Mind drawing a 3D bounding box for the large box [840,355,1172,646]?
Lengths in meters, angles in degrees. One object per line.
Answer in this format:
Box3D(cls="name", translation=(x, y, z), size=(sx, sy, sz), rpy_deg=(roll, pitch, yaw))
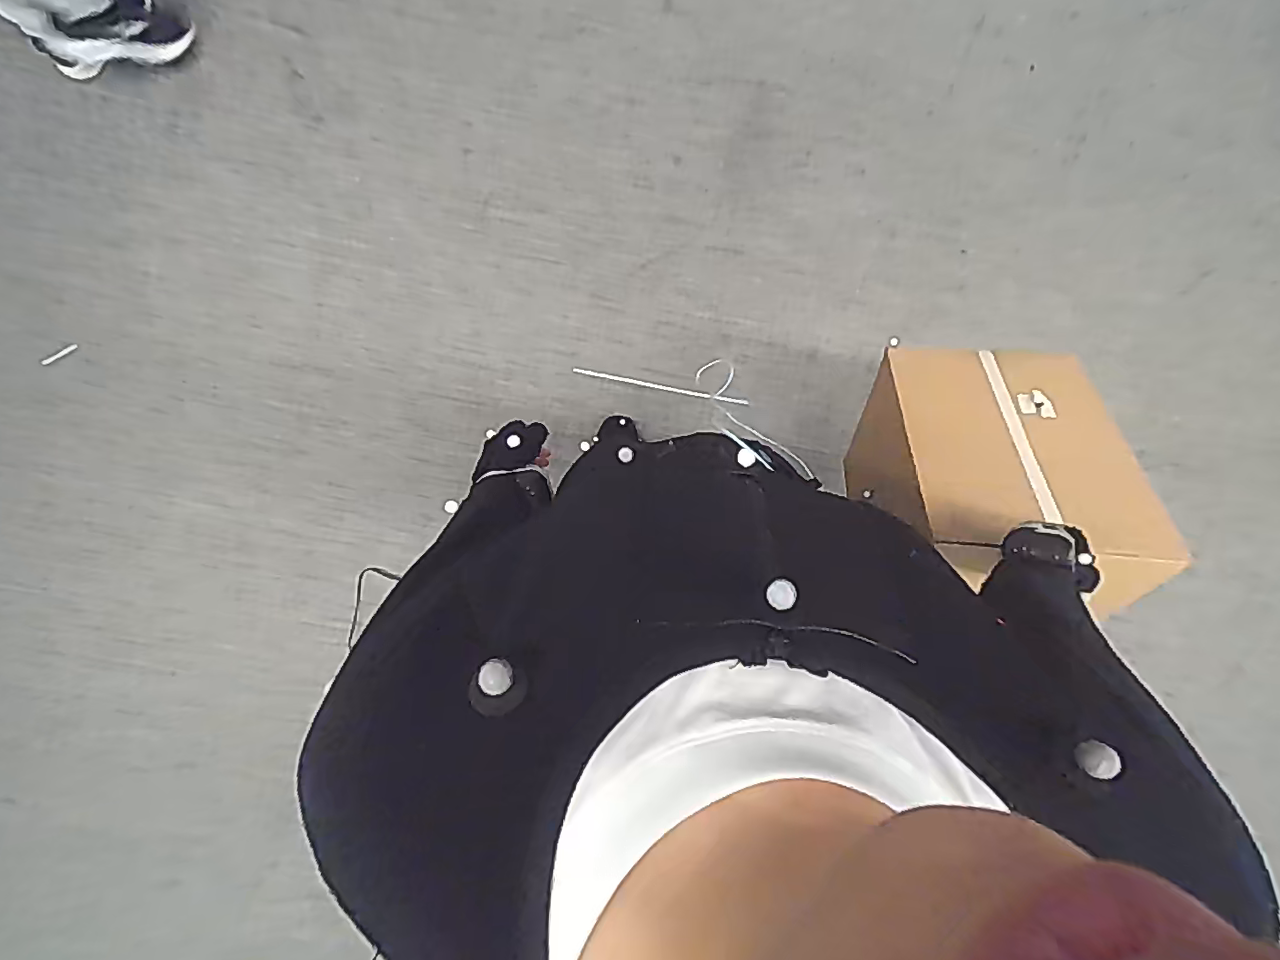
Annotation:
Box3D(cls="large box", translation=(0.562, 0.034, 0.944), size=(0.320, 0.320, 0.408), rpy_deg=(5, 51, 6))
